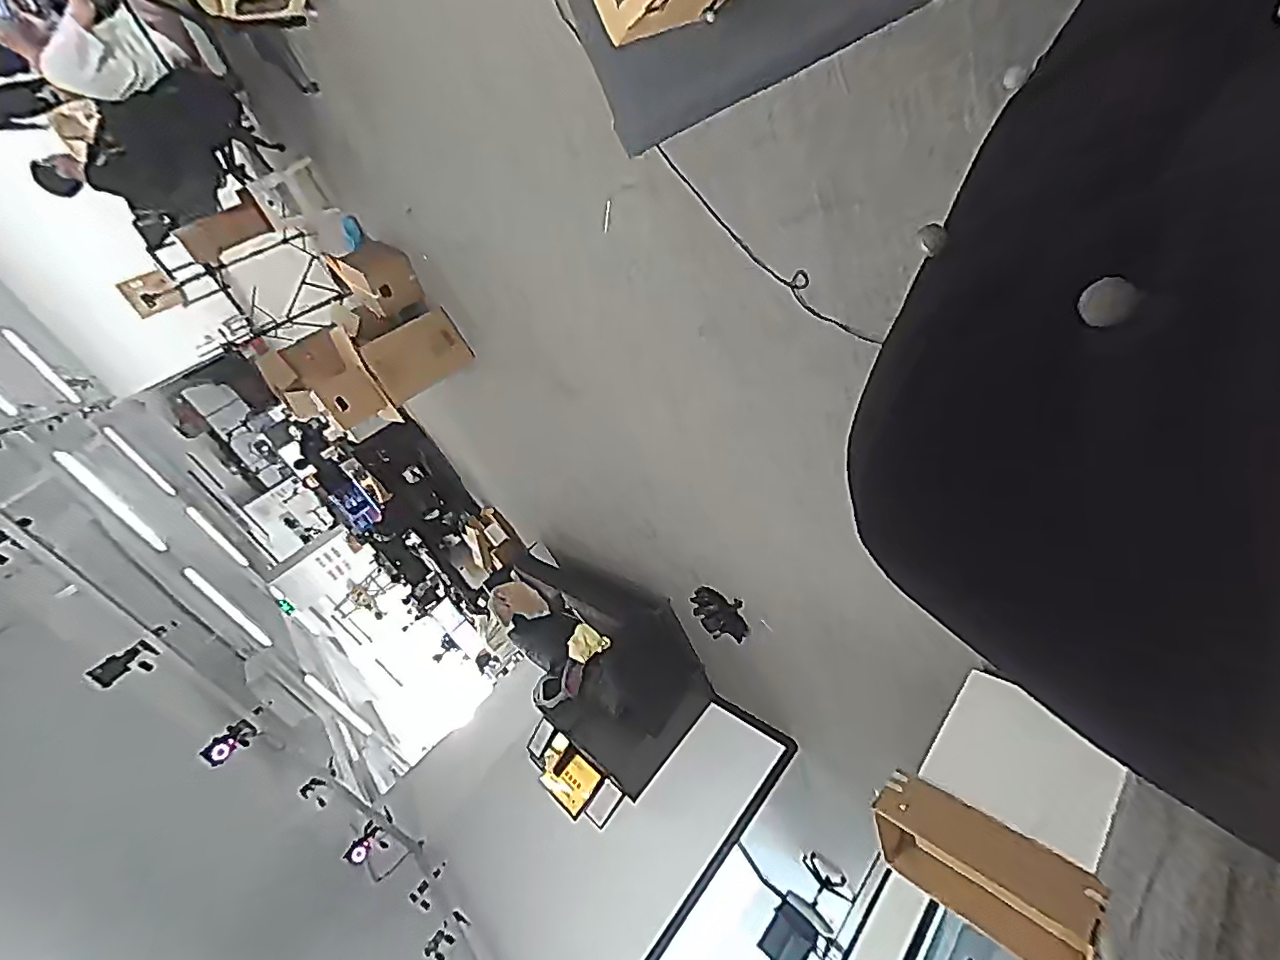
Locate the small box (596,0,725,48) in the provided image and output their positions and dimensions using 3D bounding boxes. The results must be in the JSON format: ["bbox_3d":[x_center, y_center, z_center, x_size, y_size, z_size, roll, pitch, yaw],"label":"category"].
[{"bbox_3d":[0.040,-0.593,0.544,0.168,0.176,0.179,5,129,53],"label":"small box"}]
